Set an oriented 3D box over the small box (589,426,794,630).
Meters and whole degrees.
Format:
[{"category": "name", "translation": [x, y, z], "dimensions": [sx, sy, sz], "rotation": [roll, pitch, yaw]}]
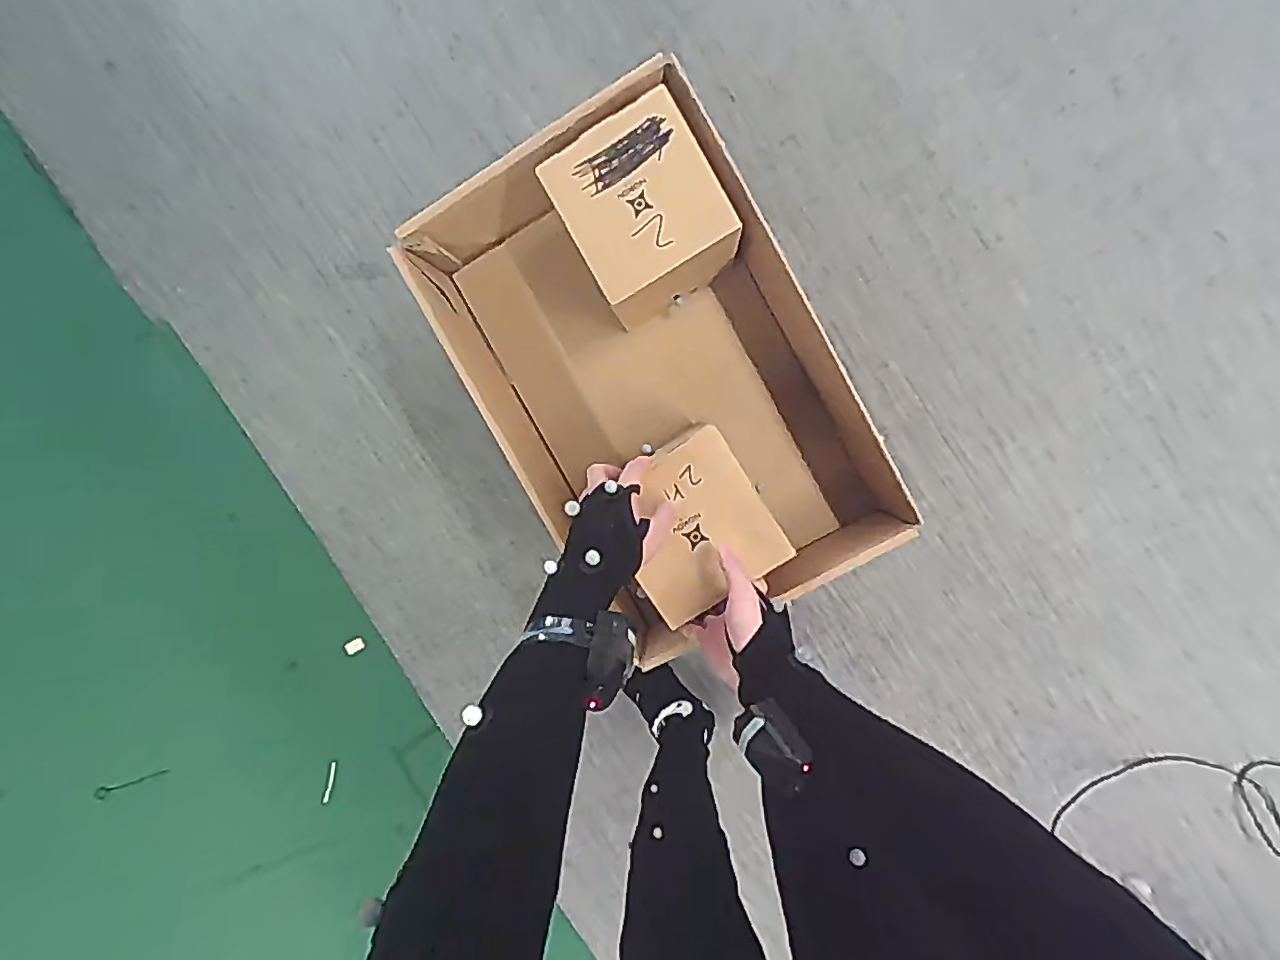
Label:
[{"category": "small box", "translation": [0.060, 0.046, 0.667], "dimensions": [0.168, 0.176, 0.179], "rotation": [-32, 95, 6]}]
